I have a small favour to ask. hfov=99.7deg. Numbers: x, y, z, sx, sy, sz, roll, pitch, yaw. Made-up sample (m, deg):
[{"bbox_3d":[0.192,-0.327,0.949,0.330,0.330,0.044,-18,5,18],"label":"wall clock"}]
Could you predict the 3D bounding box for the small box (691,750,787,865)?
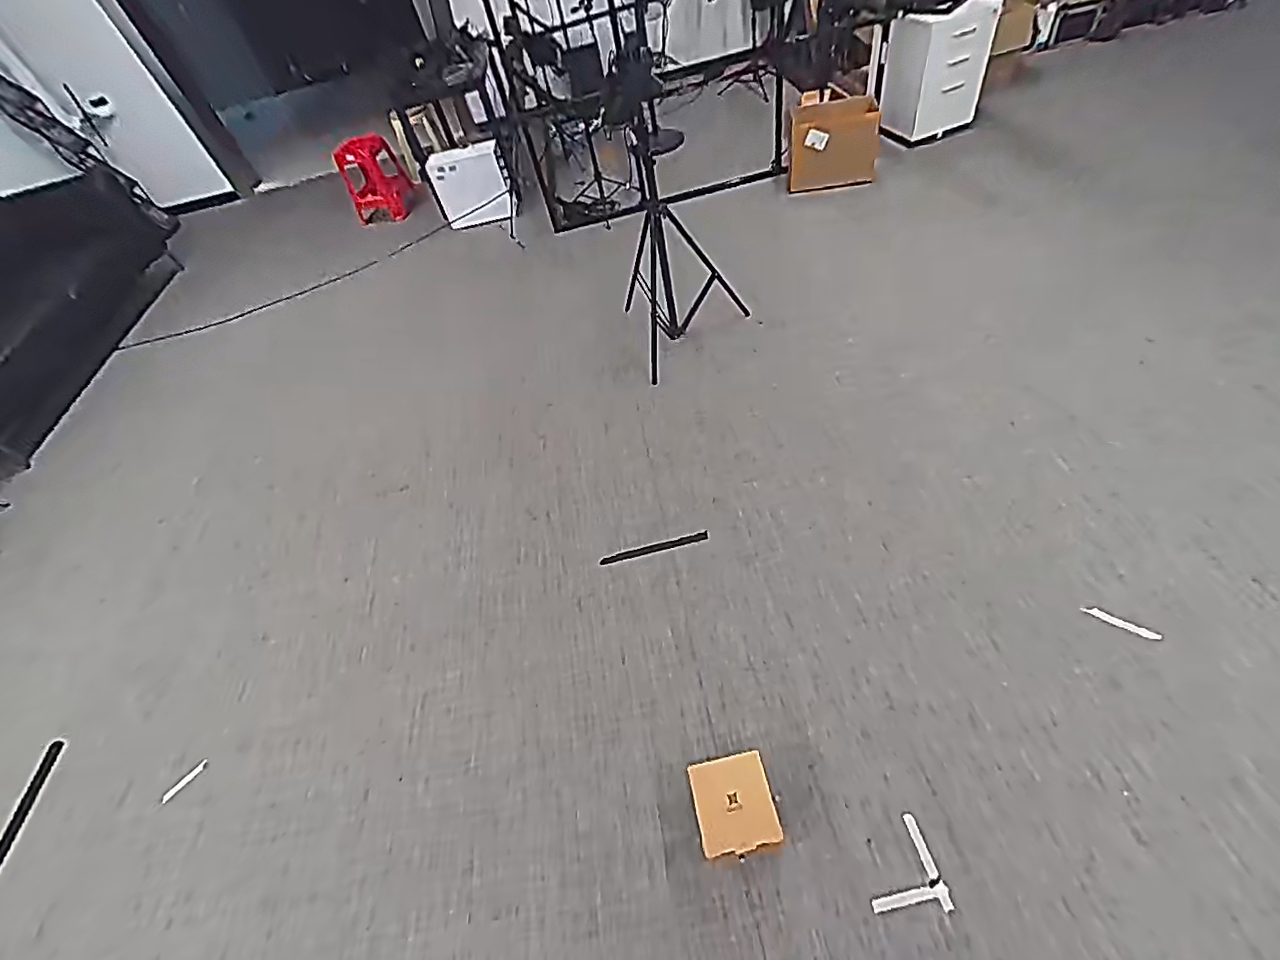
[{"bbox_3d":[0.217,0.733,1.209,0.168,0.176,0.179,-15,49,1],"label":"small box"}]
